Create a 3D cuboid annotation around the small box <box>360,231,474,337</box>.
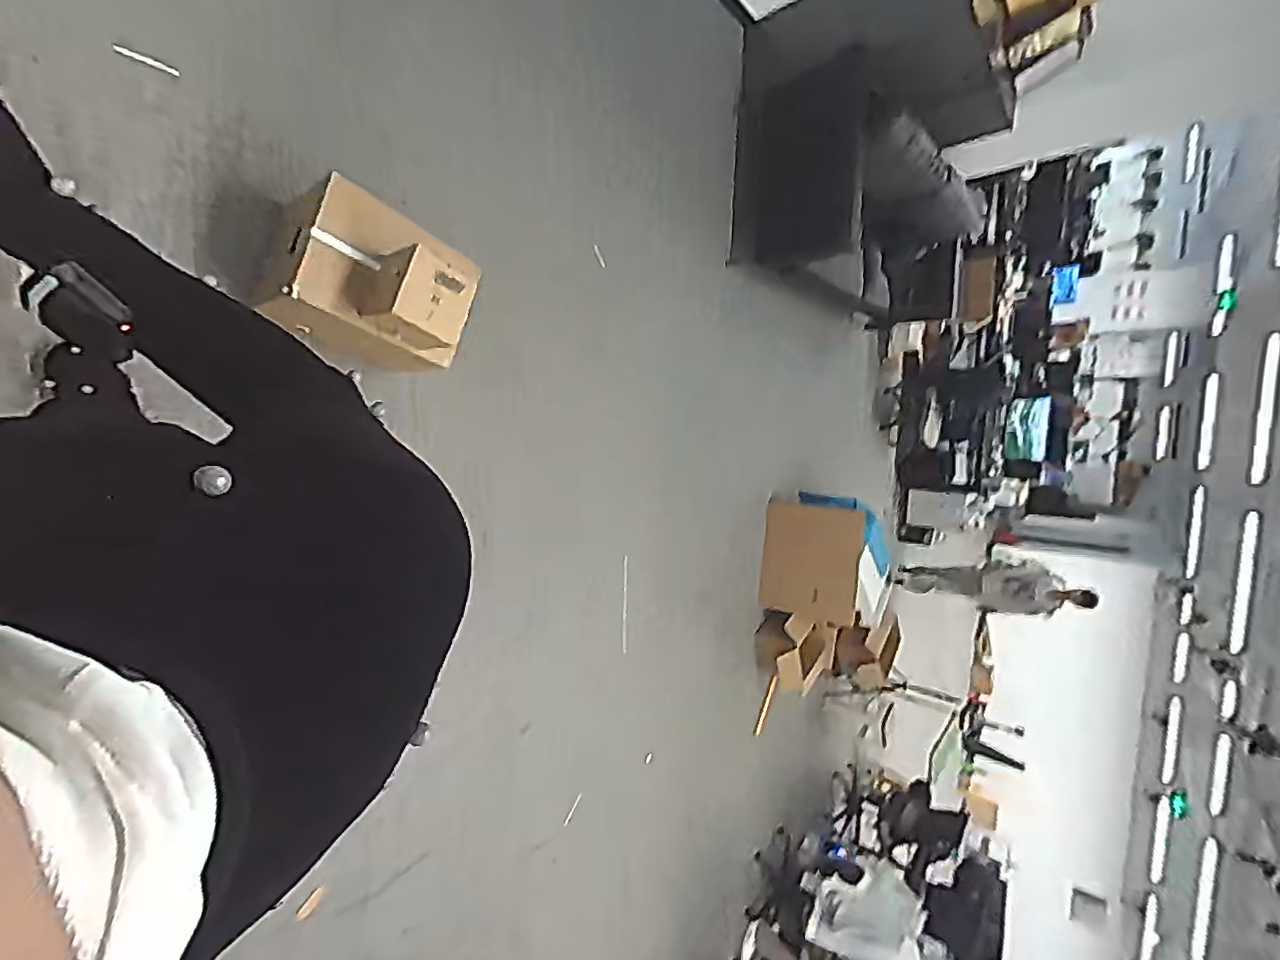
[{"bbox_3d":[-0.536,-0.459,1.294,0.168,0.176,0.179,27,77,-48],"label":"small box"}]
